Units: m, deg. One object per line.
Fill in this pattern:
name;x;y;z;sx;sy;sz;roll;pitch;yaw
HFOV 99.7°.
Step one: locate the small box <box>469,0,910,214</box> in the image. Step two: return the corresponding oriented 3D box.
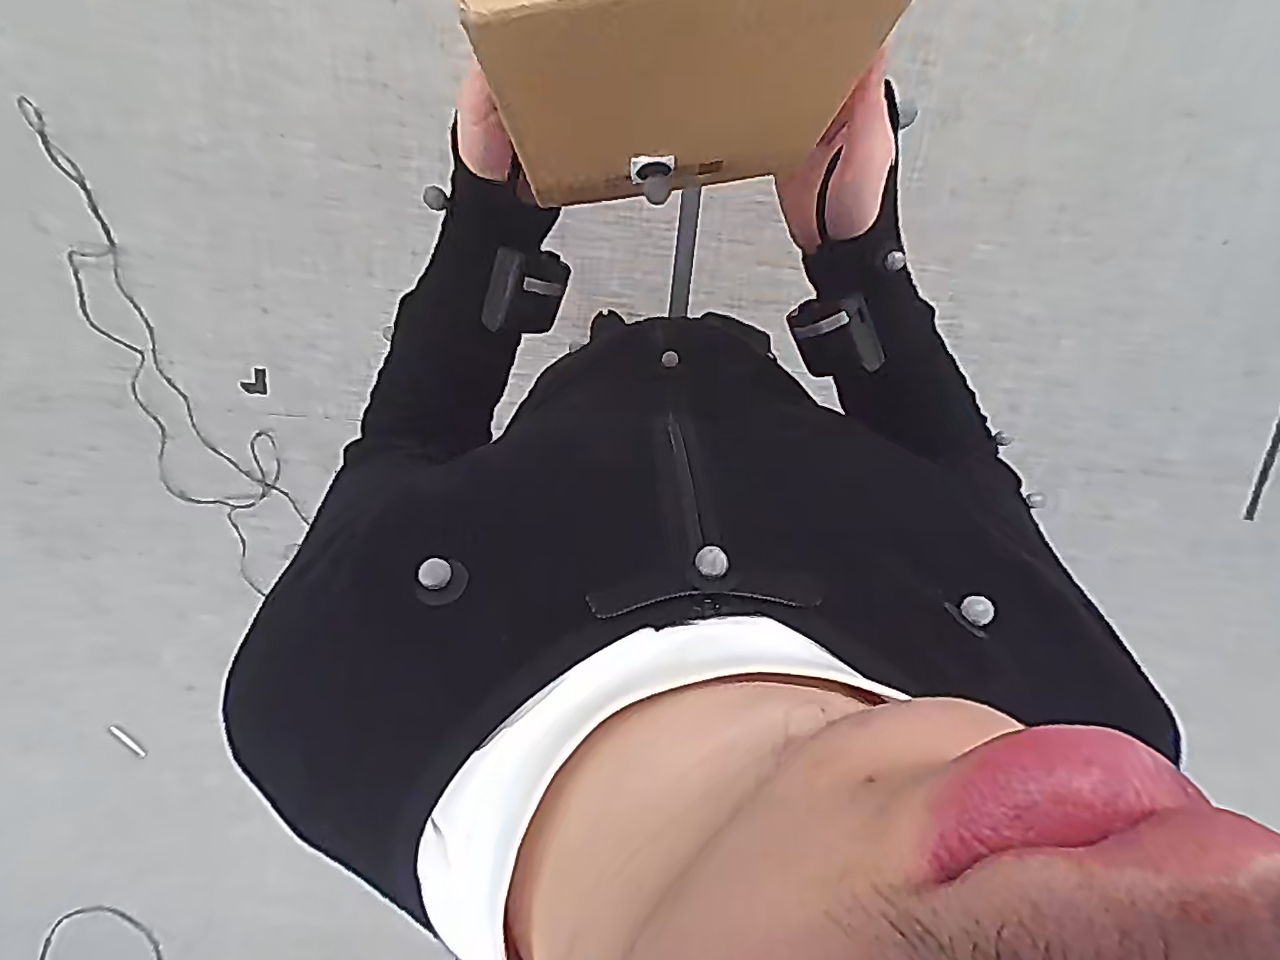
small box;0.007;-0.258;0.258;0.168;0.176;0.179;-10;97;1
